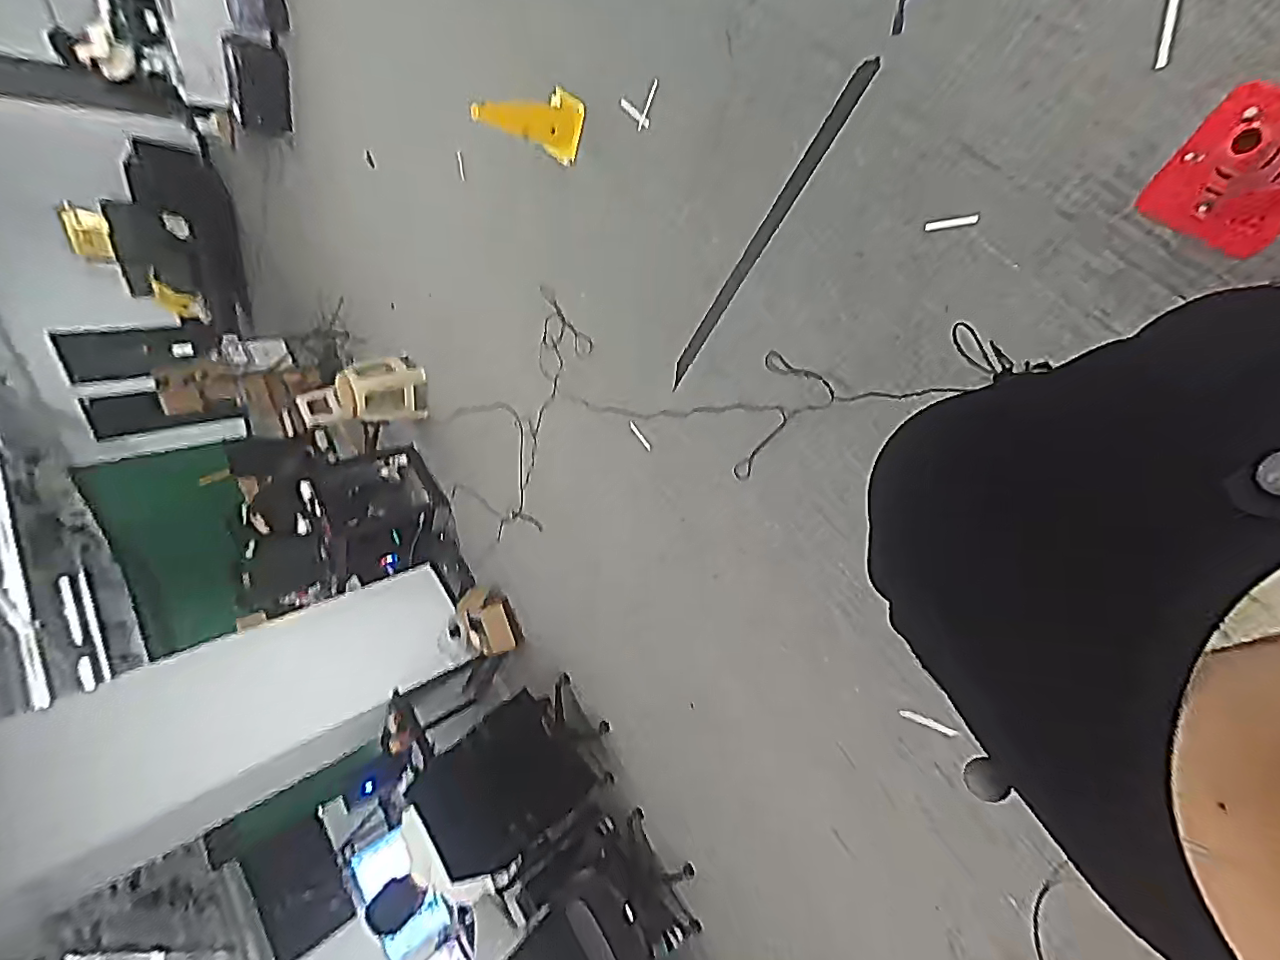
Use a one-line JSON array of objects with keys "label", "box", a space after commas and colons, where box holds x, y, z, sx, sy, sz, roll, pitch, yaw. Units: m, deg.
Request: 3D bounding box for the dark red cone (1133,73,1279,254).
[{"label": "dark red cone", "box": [0.813, -0.436, 0.730, 0.201, 0.394, 0.202, 49, 136, 26]}]
